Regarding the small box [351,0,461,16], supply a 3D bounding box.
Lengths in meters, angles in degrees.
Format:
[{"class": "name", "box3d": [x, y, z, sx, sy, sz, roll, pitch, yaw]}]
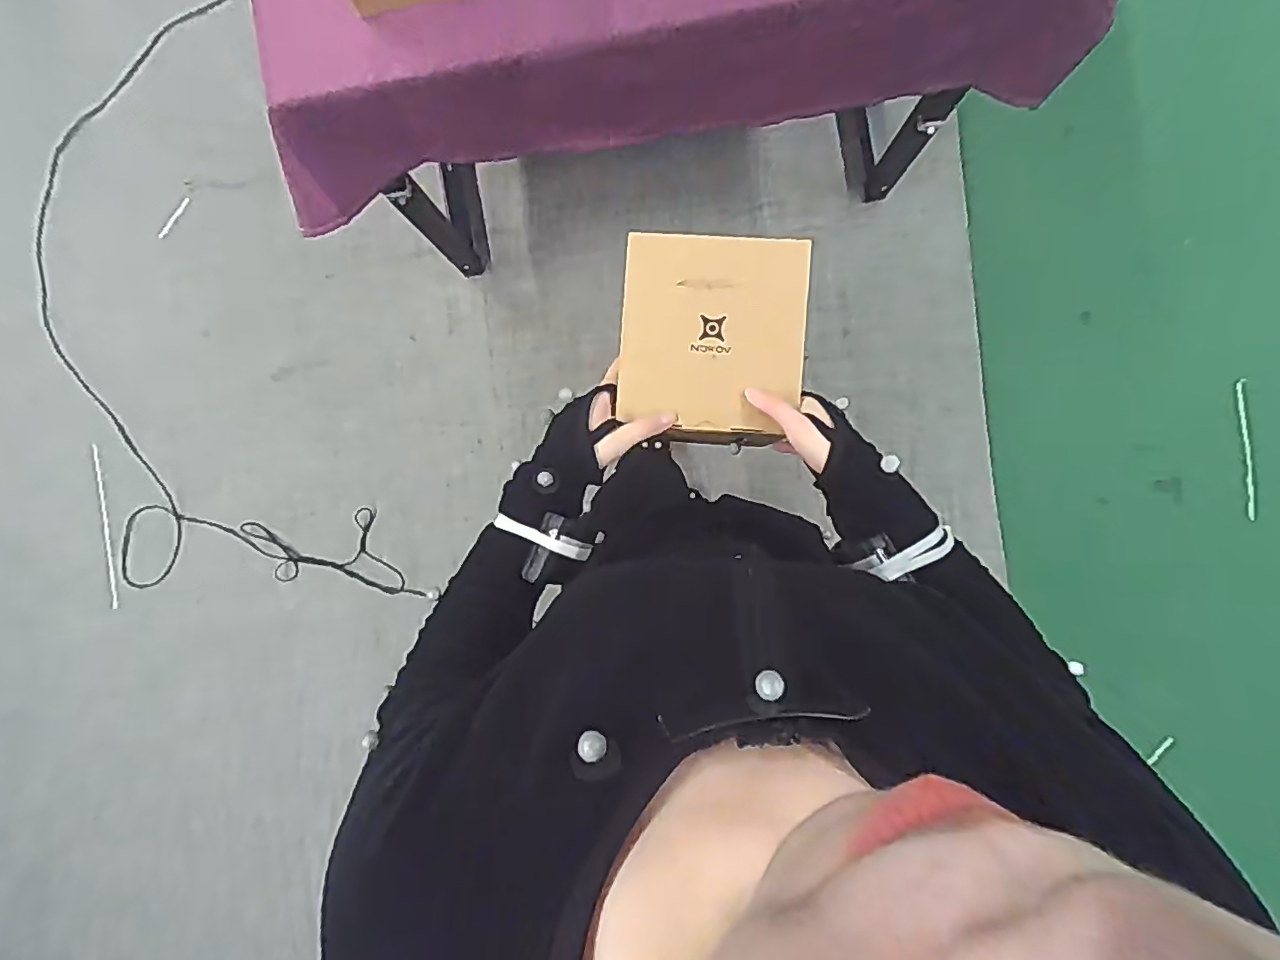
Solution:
[{"class": "small box", "box3d": [-0.341, -0.765, 0.712, 0.179, 0.176, 0.168, -8, 90, 3]}]

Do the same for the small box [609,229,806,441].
[{"class": "small box", "box3d": [0.066, -0.136, 0.566, 0.168, 0.176, 0.179, 5, 90, 4]}]
